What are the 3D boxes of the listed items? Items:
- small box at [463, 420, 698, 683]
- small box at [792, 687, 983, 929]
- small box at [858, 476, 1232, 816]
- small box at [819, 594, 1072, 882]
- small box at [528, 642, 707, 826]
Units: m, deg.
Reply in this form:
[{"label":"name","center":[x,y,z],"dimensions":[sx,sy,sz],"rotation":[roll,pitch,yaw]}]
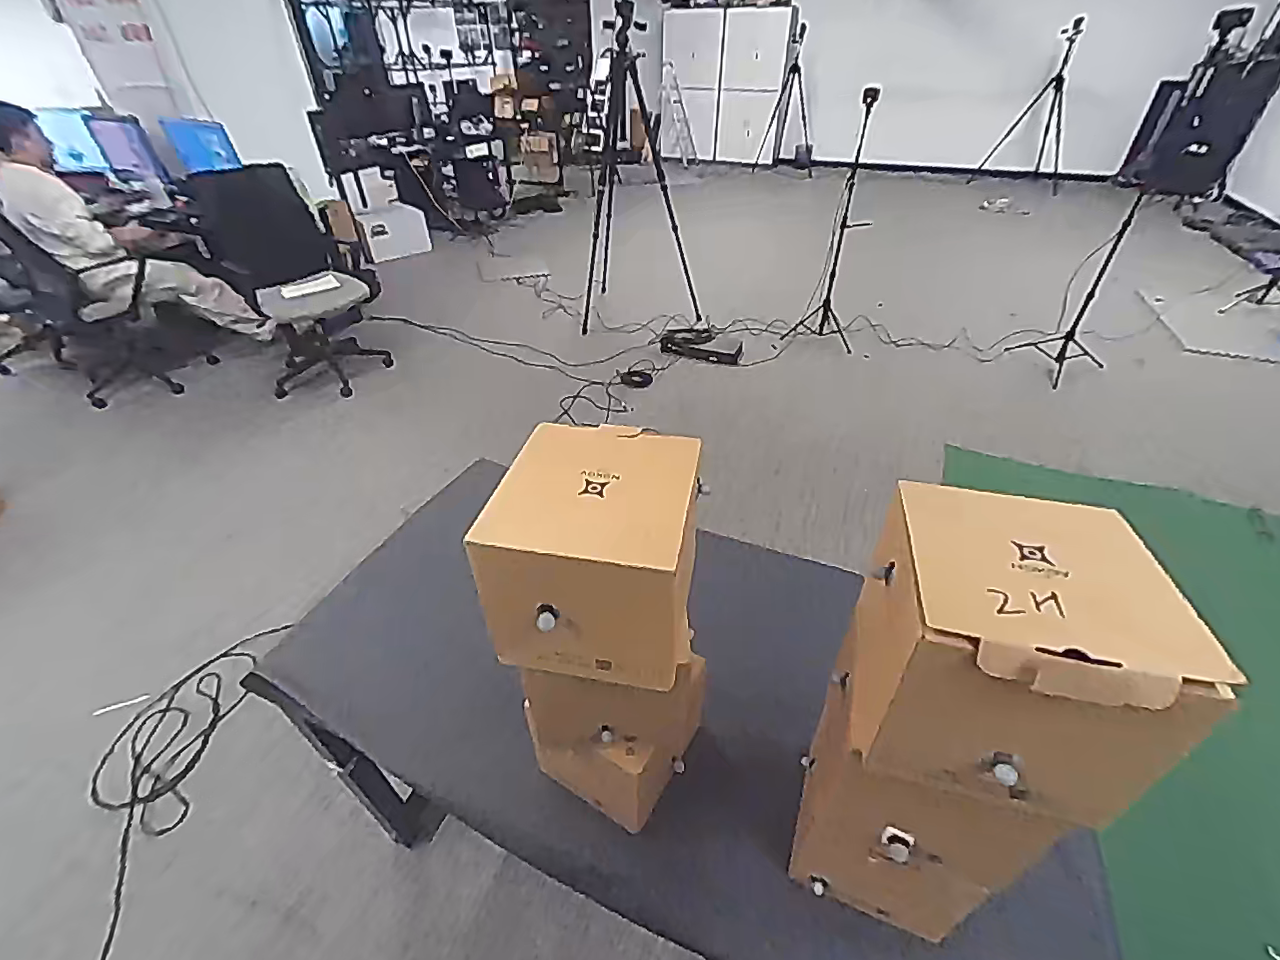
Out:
[{"label":"small box","center":[-0.038,0.065,0.512],"dimensions":[0.168,0.176,0.179],"rotation":[6,39,9]},{"label":"small box","center":[0.283,0.376,0.638],"dimensions":[0.168,0.176,0.179],"rotation":[14,38,19]},{"label":"small box","center":[0.277,0.122,0.431],"dimensions":[0.168,0.176,0.179],"rotation":[8,38,14]},{"label":"small box","center":[0.280,0.249,0.537],"dimensions":[0.168,0.176,0.179],"rotation":[11,39,16]},{"label":"small box","center":[-0.028,0.312,0.727],"dimensions":[0.168,0.176,0.179],"rotation":[21,42,24]}]
